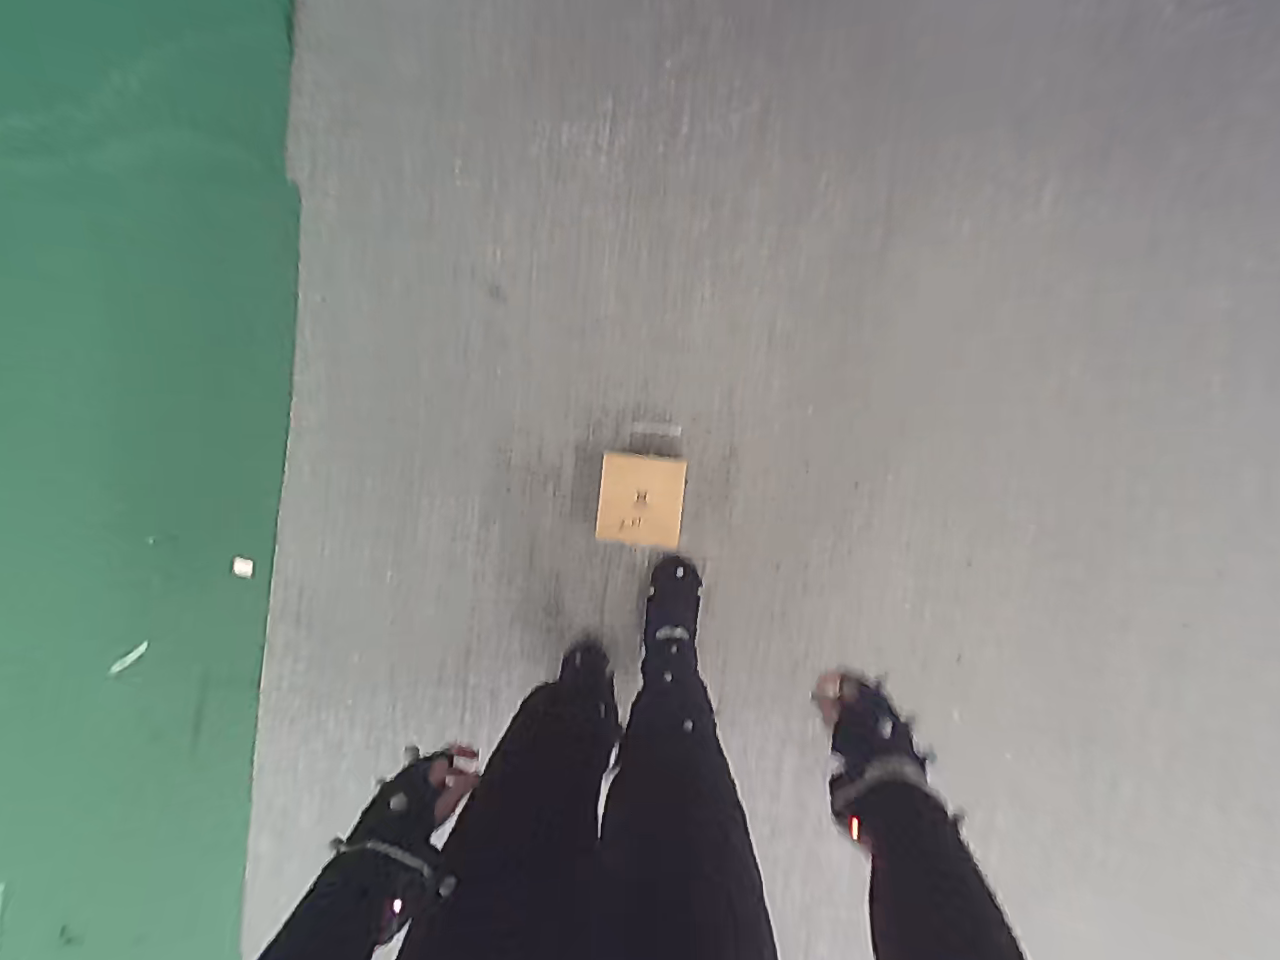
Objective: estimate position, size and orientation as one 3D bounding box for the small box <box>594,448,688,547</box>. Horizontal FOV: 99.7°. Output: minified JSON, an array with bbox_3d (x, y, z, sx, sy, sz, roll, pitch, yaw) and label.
[{"bbox_3d":[0.006,0.031,1.128,0.168,0.176,0.179,7,93,5],"label":"small box"}]
